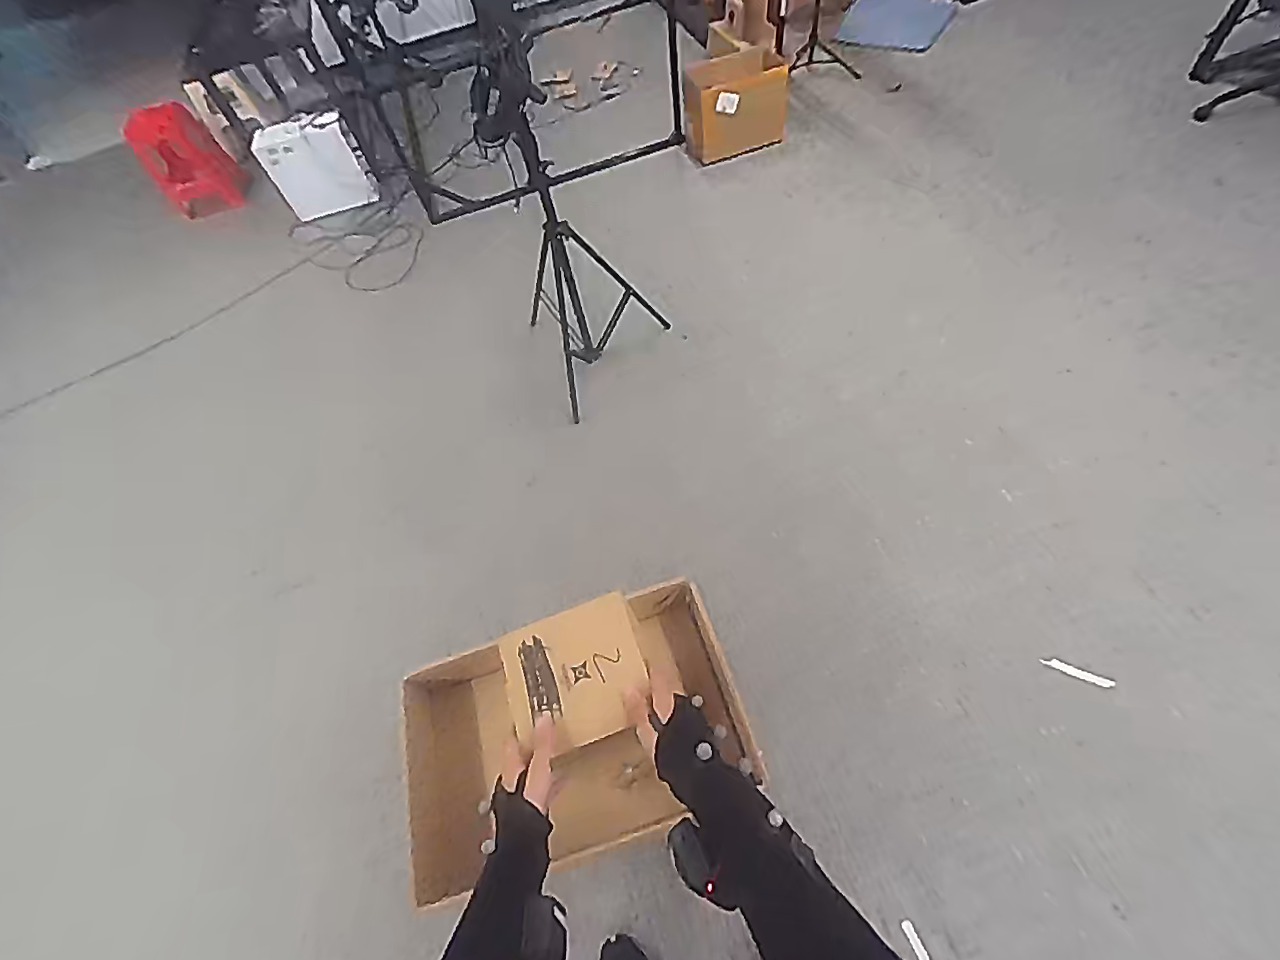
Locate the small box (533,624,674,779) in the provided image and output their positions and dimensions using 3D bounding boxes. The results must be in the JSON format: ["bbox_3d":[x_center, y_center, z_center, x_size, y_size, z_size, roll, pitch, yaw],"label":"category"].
[{"bbox_3d":[-0.055,0.365,0.879,0.168,0.176,0.179,-21,58,-1],"label":"small box"}]
